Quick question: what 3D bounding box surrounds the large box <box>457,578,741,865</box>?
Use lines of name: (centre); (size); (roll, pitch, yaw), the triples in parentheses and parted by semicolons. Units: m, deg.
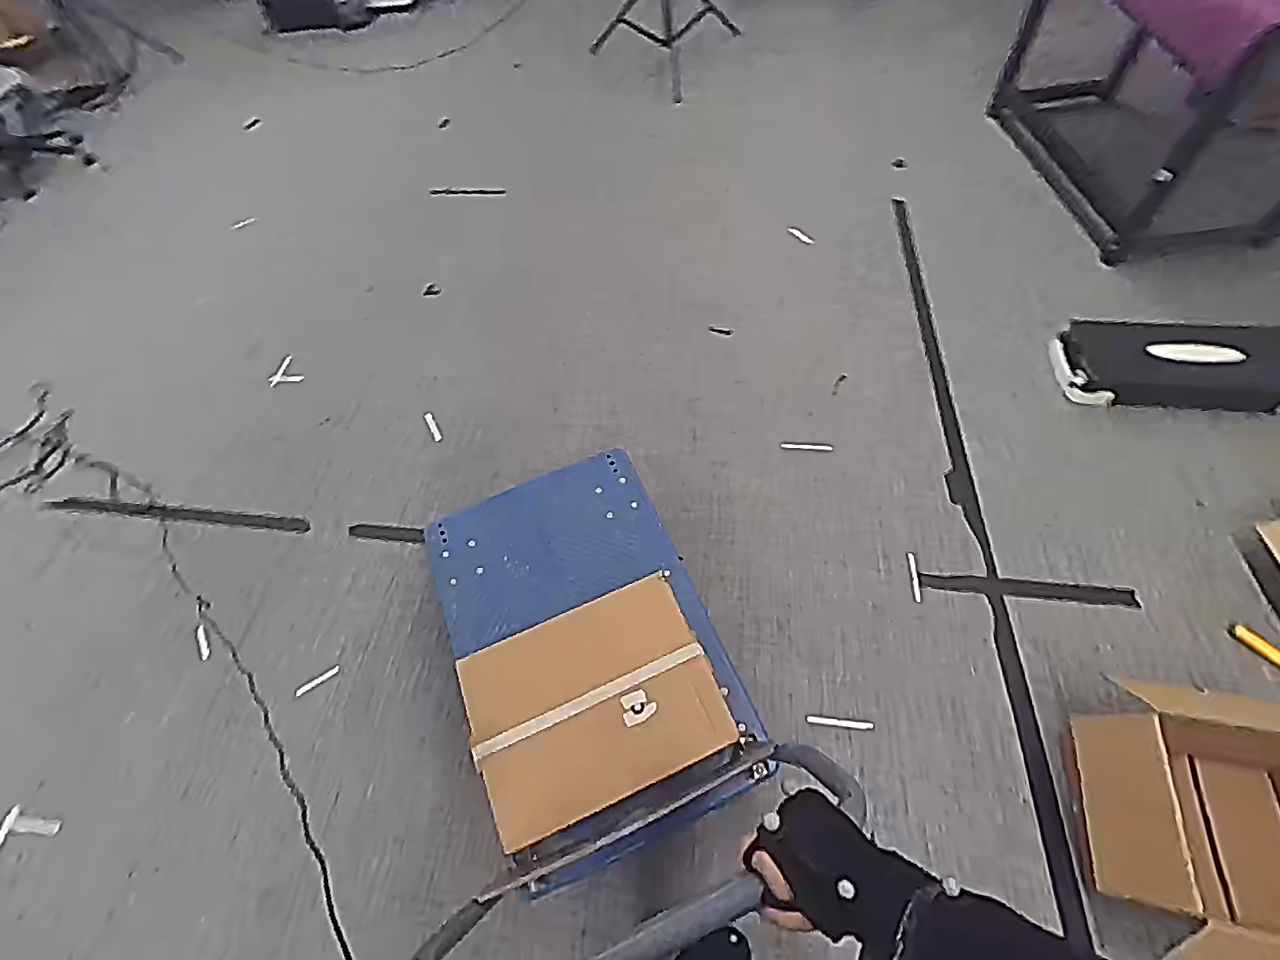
large box: (-0.070, 0.447, 1.022); (0.408, 0.320, 0.320); (-22, 63, -9)
